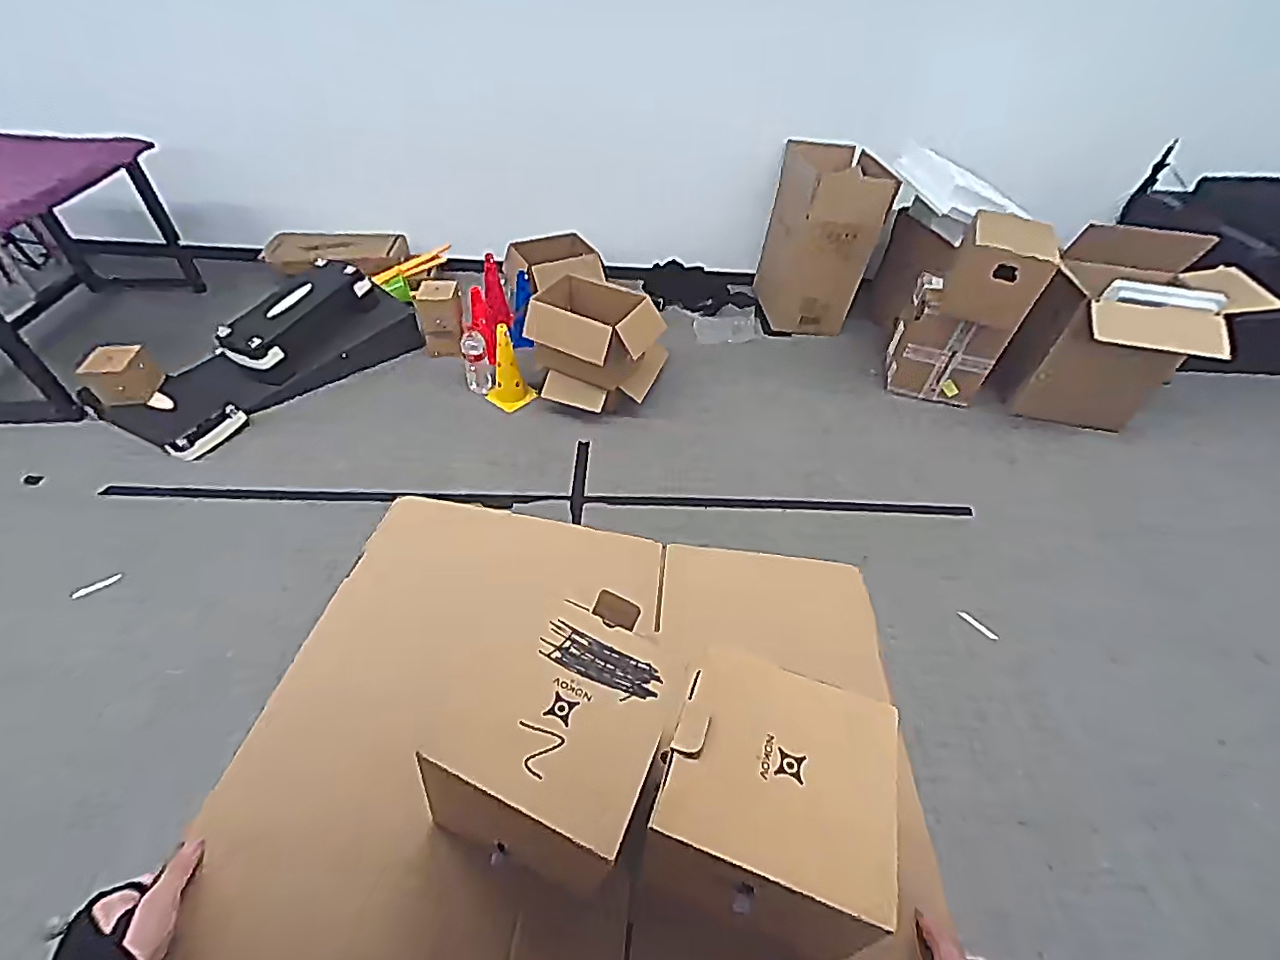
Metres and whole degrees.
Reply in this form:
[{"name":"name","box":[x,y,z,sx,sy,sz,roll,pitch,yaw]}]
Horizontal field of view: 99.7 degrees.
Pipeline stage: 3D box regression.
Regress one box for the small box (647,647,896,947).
[{"name":"small box","box":[0.115,0.291,0.497,0.179,0.176,0.168,15,43,14]}]
